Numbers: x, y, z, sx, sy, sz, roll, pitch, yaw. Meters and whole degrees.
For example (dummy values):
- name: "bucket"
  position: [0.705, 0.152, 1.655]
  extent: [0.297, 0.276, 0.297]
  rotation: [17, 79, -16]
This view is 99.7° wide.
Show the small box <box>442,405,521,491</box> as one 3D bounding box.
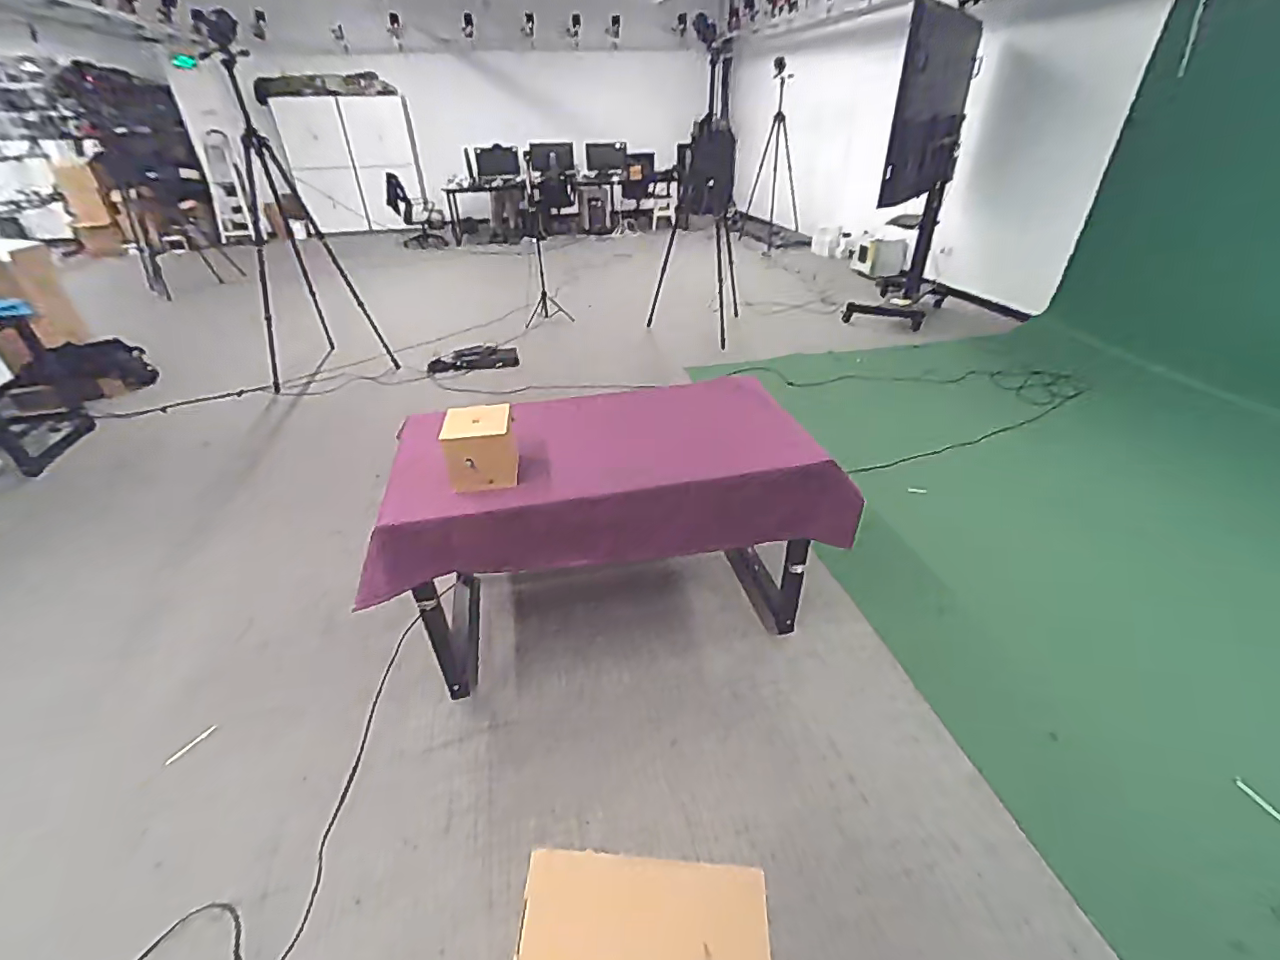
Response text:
- name: "small box"
  position: [-0.415, -0.082, 1.448]
  extent: [0.168, 0.176, 0.179]
  rotation: [-6, 33, -6]
